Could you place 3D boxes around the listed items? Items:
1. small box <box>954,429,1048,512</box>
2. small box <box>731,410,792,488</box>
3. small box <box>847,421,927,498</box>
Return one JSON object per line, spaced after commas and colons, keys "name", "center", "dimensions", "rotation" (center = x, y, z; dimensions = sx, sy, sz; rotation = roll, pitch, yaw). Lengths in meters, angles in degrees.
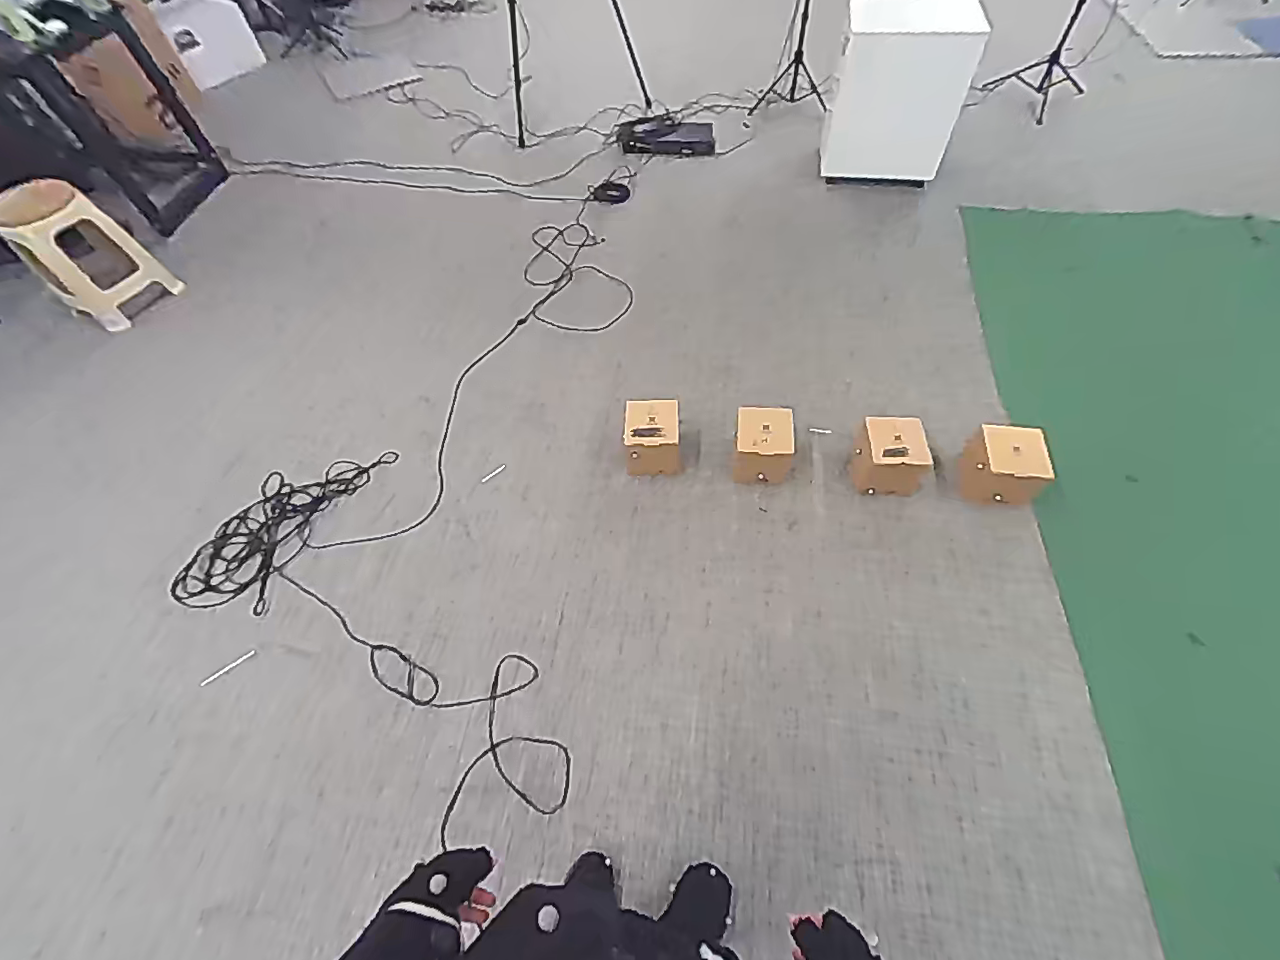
{"name": "small box", "center": [1.067, -0.026, 1.615], "dimensions": [0.168, 0.176, 0.179], "rotation": [6, 58, 8]}
{"name": "small box", "center": [0.376, -0.095, 1.691], "dimensions": [0.168, 0.176, 0.179], "rotation": [3, 57, 7]}
{"name": "small box", "center": [0.747, -0.059, 1.651], "dimensions": [0.168, 0.176, 0.179], "rotation": [2, 56, 4]}
